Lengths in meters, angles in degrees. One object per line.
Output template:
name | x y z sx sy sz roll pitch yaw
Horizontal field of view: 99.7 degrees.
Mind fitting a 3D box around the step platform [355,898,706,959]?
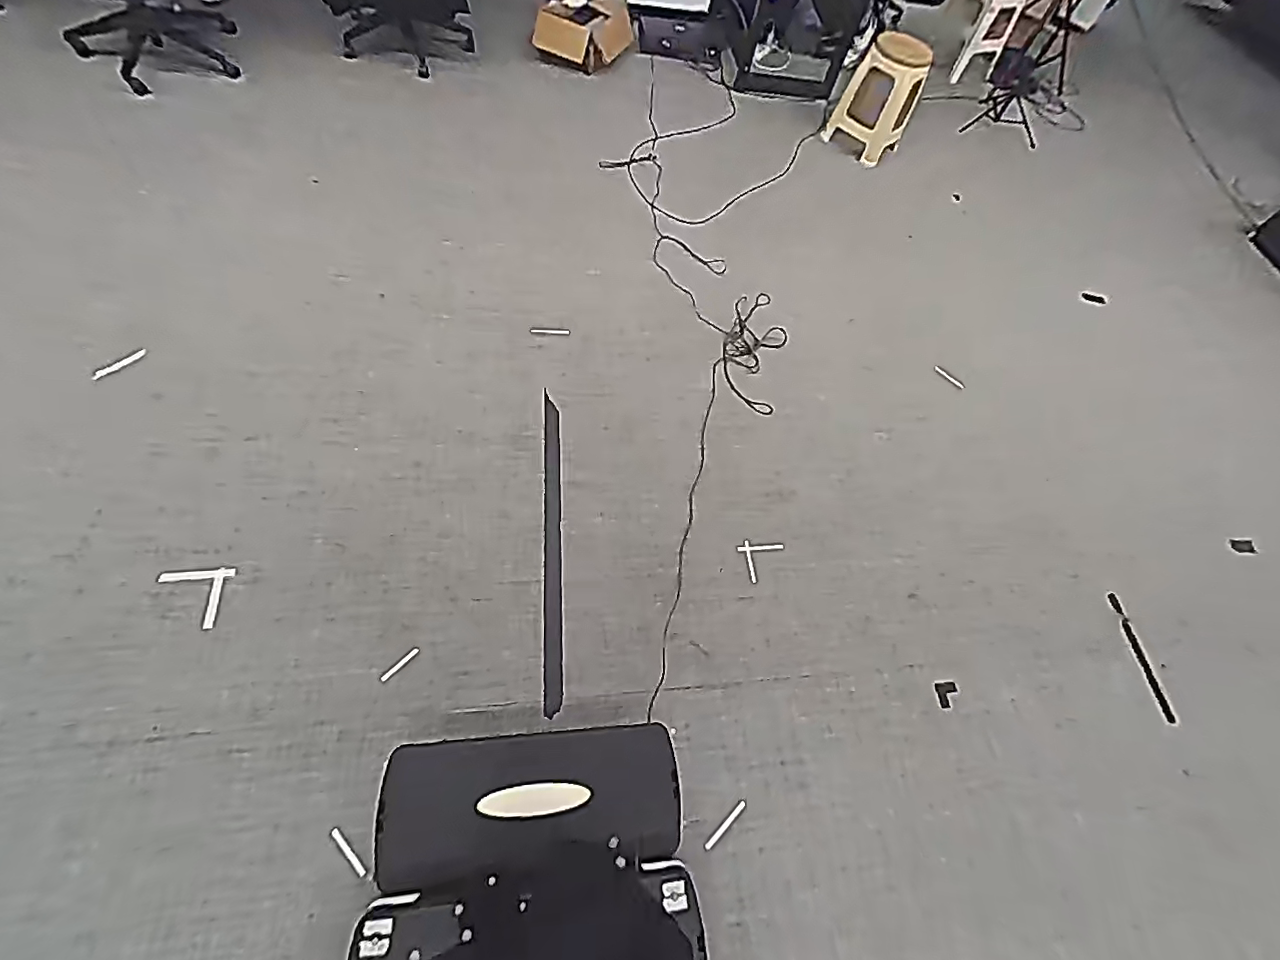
step platform | -0.205 1.003 1.034 0.684 0.204 0.286 3 59 -7
